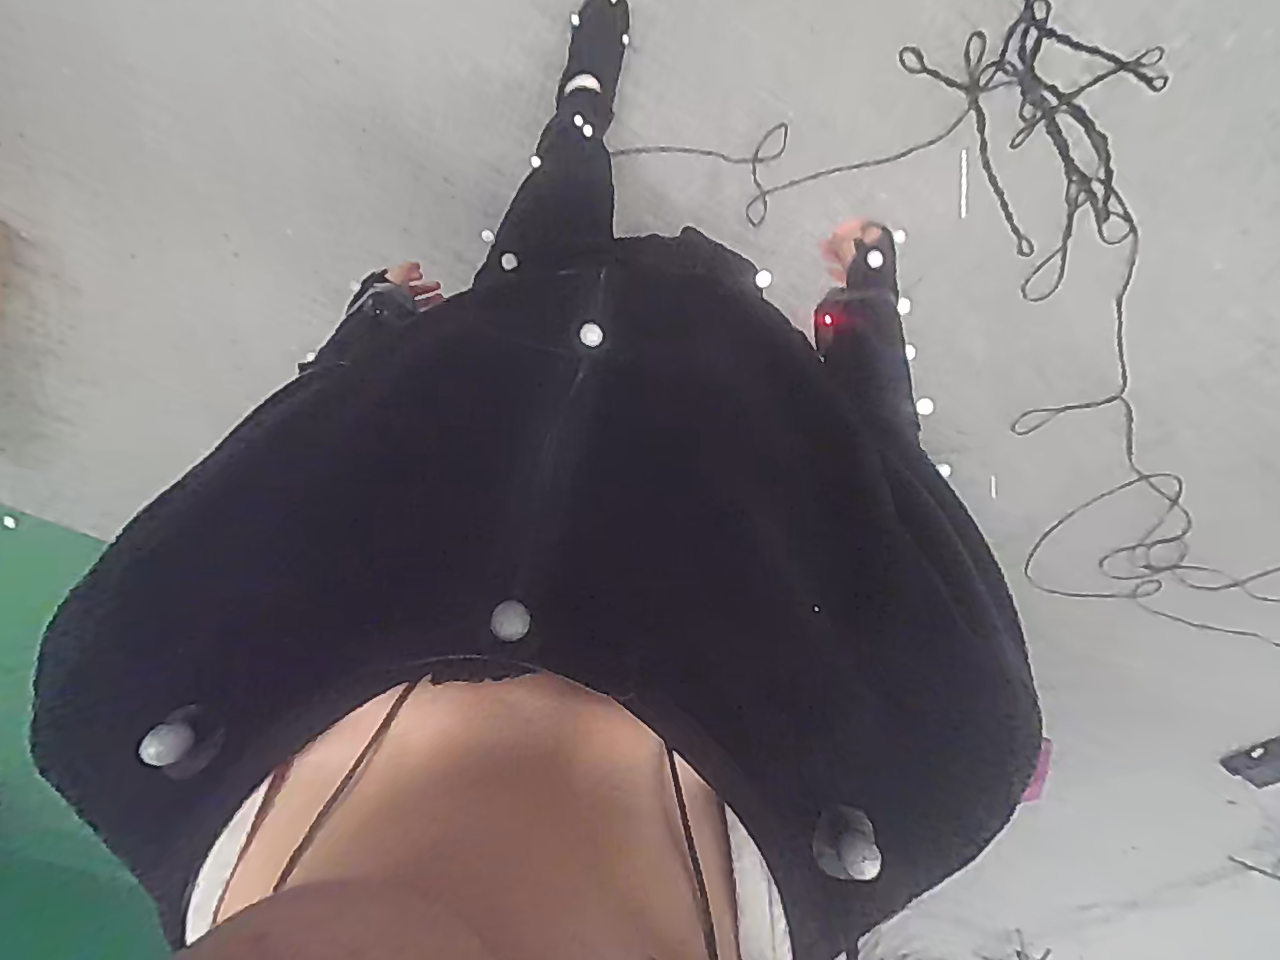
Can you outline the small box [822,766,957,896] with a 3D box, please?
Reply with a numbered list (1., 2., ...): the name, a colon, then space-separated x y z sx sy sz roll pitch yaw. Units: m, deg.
1. small box: 0.519 0.745 1.157 0.179 0.176 0.168 24 121 -14
